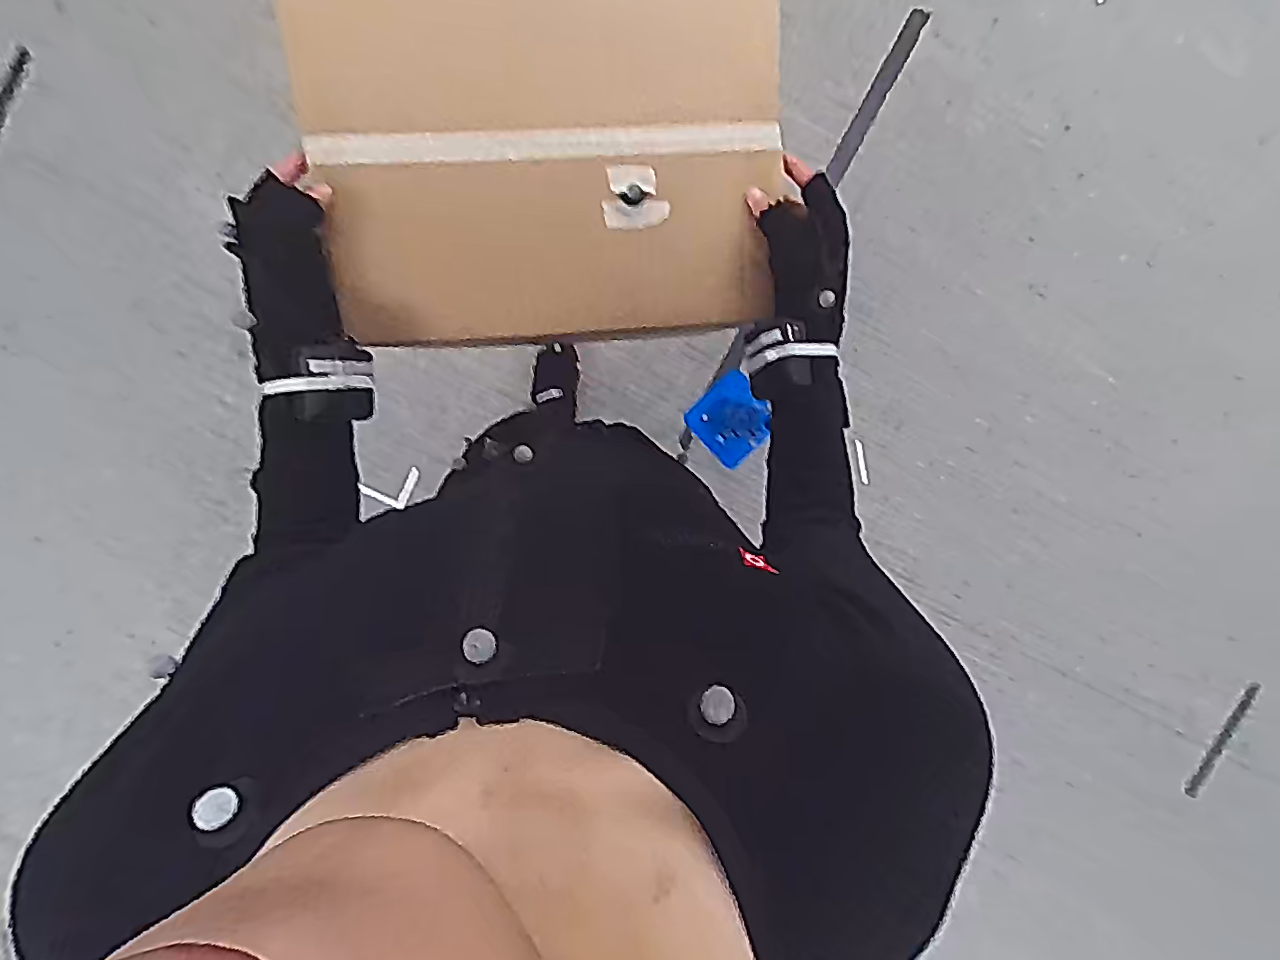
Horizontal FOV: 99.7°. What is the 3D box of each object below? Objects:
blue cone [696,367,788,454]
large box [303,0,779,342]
[{"bbox_3d":[0.272,-0.164,1.288,0.192,0.380,0.193,-42,97,3],"label":"blue cone"},{"bbox_3d":[-0.089,-0.335,0.622,0.408,0.320,0.320,-4,103,-6],"label":"large box"}]
